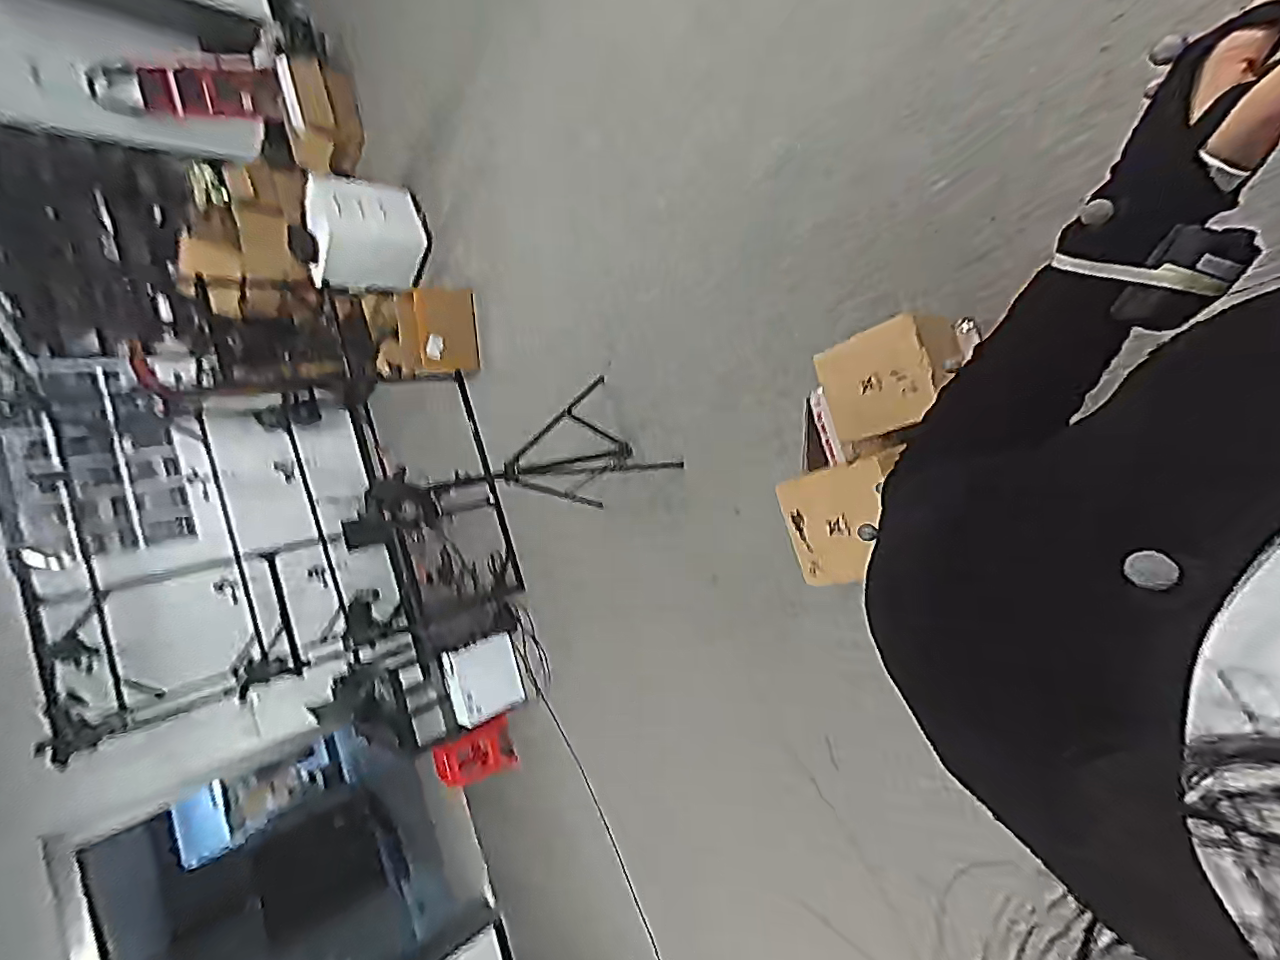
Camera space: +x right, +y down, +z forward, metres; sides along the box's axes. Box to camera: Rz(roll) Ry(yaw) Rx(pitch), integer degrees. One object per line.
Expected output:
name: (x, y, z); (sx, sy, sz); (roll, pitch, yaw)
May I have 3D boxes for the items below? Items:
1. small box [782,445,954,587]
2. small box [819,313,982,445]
small box: (0.357, 0.053, 0.835); (0.179, 0.176, 0.168); (-22, 84, 47)
small box: (0.446, -0.168, 0.928); (0.179, 0.176, 0.168); (-22, 82, 48)
